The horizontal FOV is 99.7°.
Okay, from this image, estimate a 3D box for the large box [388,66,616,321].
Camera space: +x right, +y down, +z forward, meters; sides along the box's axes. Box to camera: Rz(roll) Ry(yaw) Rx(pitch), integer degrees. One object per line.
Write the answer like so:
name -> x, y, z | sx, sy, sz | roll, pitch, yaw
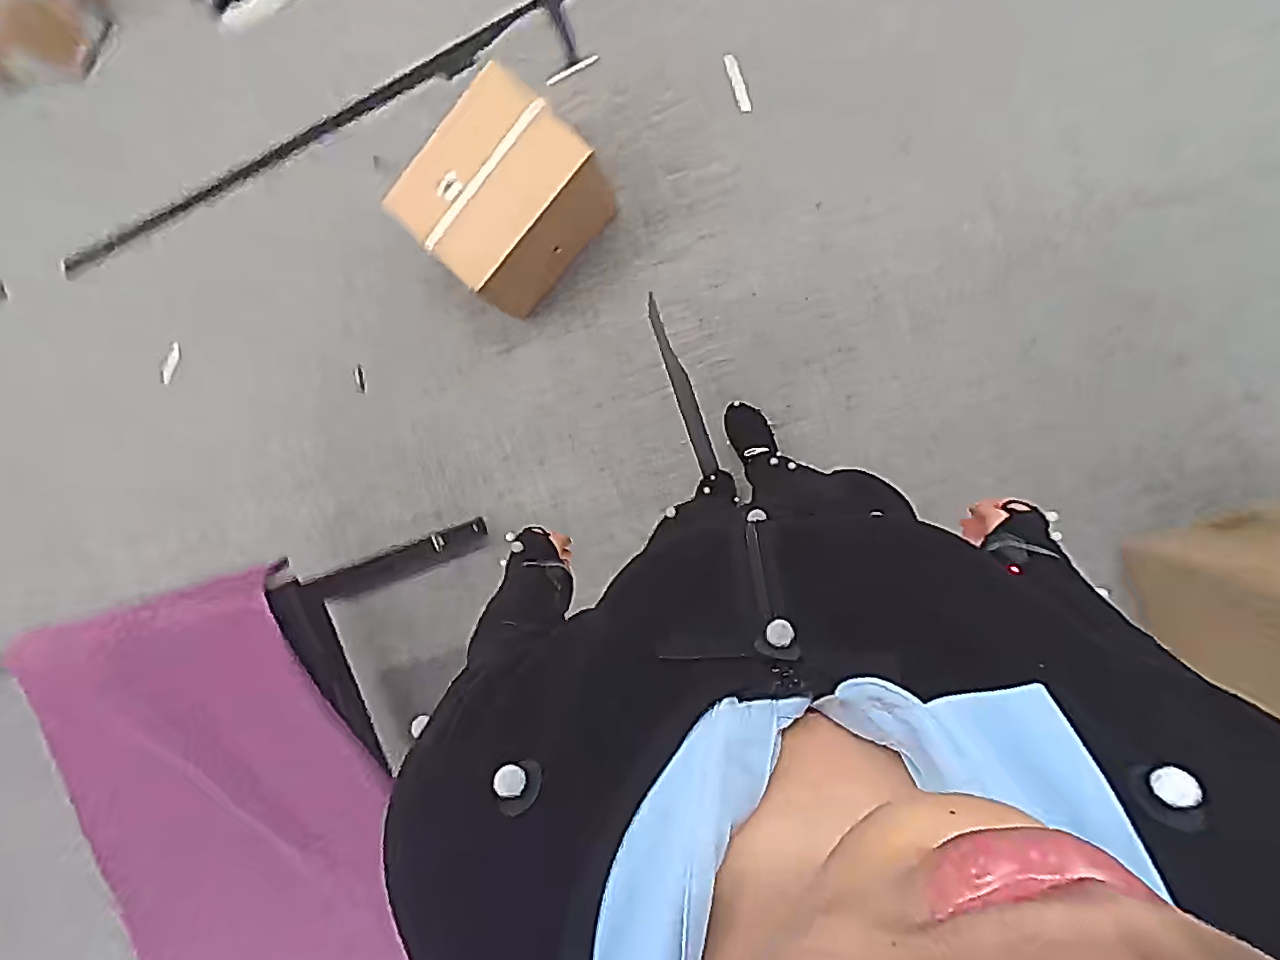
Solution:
large box -> -0.322, -0.675, 1.351 | 0.320, 0.320, 0.408 | 43, 101, 4
